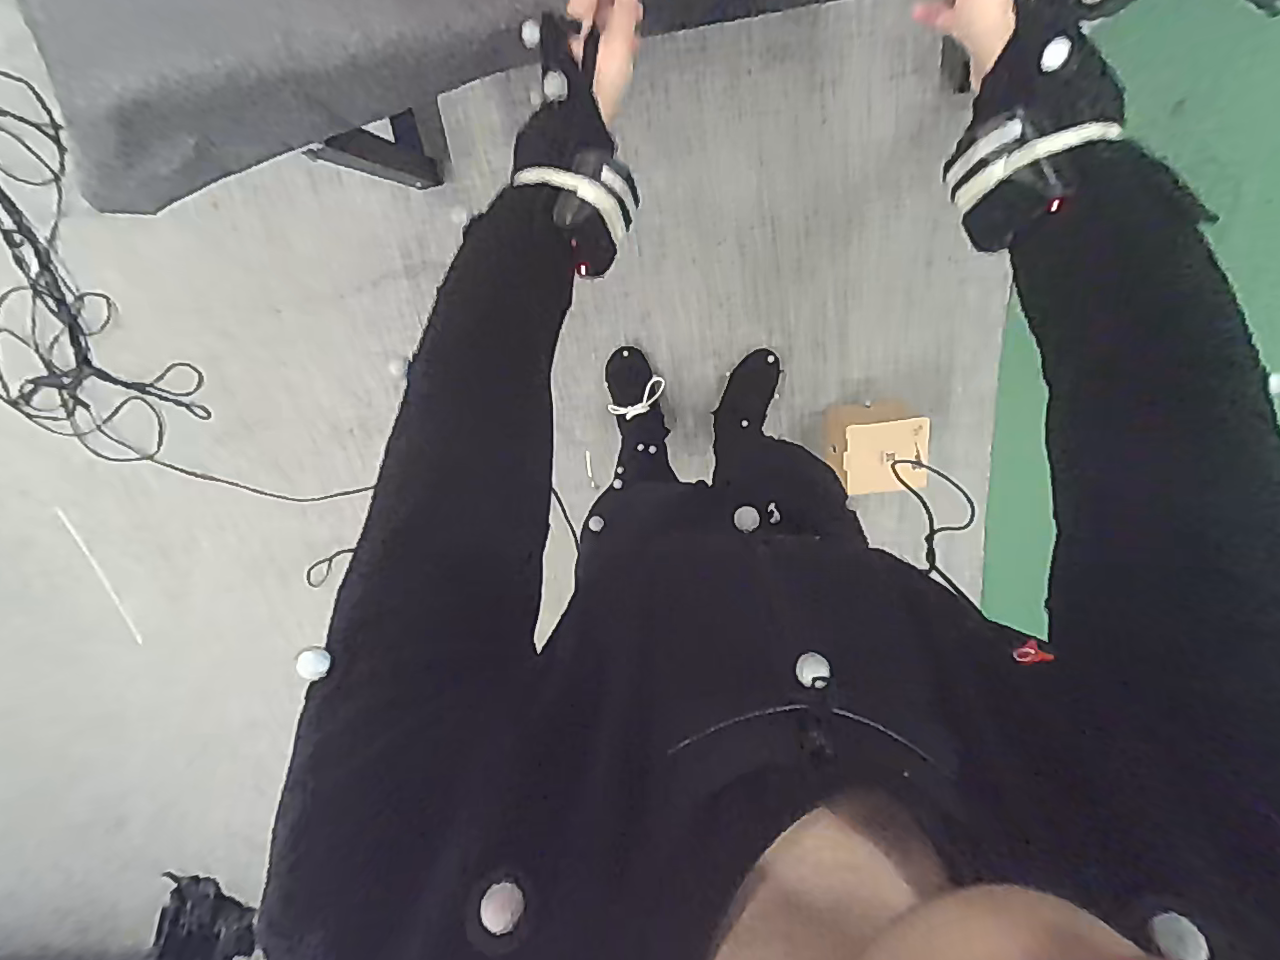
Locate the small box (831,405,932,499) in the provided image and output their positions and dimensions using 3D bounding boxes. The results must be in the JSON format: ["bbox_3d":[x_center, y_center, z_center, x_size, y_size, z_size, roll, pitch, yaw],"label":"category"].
[{"bbox_3d":[0.543,-0.068,1.241,0.179,0.176,0.168,-6,110,7],"label":"small box"}]
